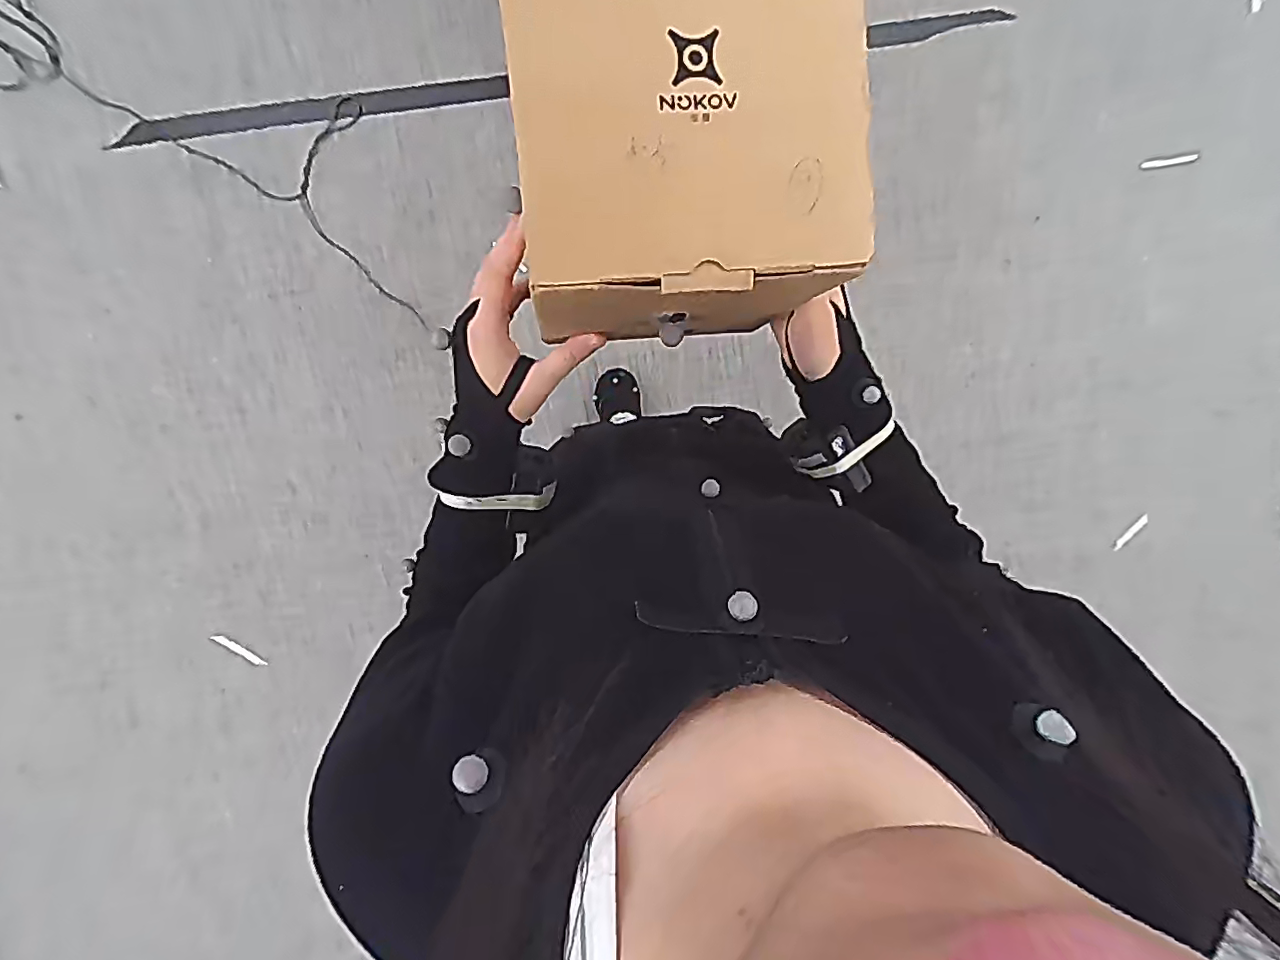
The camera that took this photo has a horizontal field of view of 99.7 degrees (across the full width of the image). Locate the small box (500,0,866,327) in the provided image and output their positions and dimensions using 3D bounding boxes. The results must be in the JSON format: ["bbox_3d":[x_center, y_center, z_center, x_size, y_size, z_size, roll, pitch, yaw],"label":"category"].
[{"bbox_3d":[0.013,-0.191,0.320,0.168,0.176,0.179,-6,97,-8],"label":"small box"}]

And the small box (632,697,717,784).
[{"bbox_3d":[0.082,0.613,1.216,0.179,0.176,0.168,-11,99,0],"label":"small box"}]
